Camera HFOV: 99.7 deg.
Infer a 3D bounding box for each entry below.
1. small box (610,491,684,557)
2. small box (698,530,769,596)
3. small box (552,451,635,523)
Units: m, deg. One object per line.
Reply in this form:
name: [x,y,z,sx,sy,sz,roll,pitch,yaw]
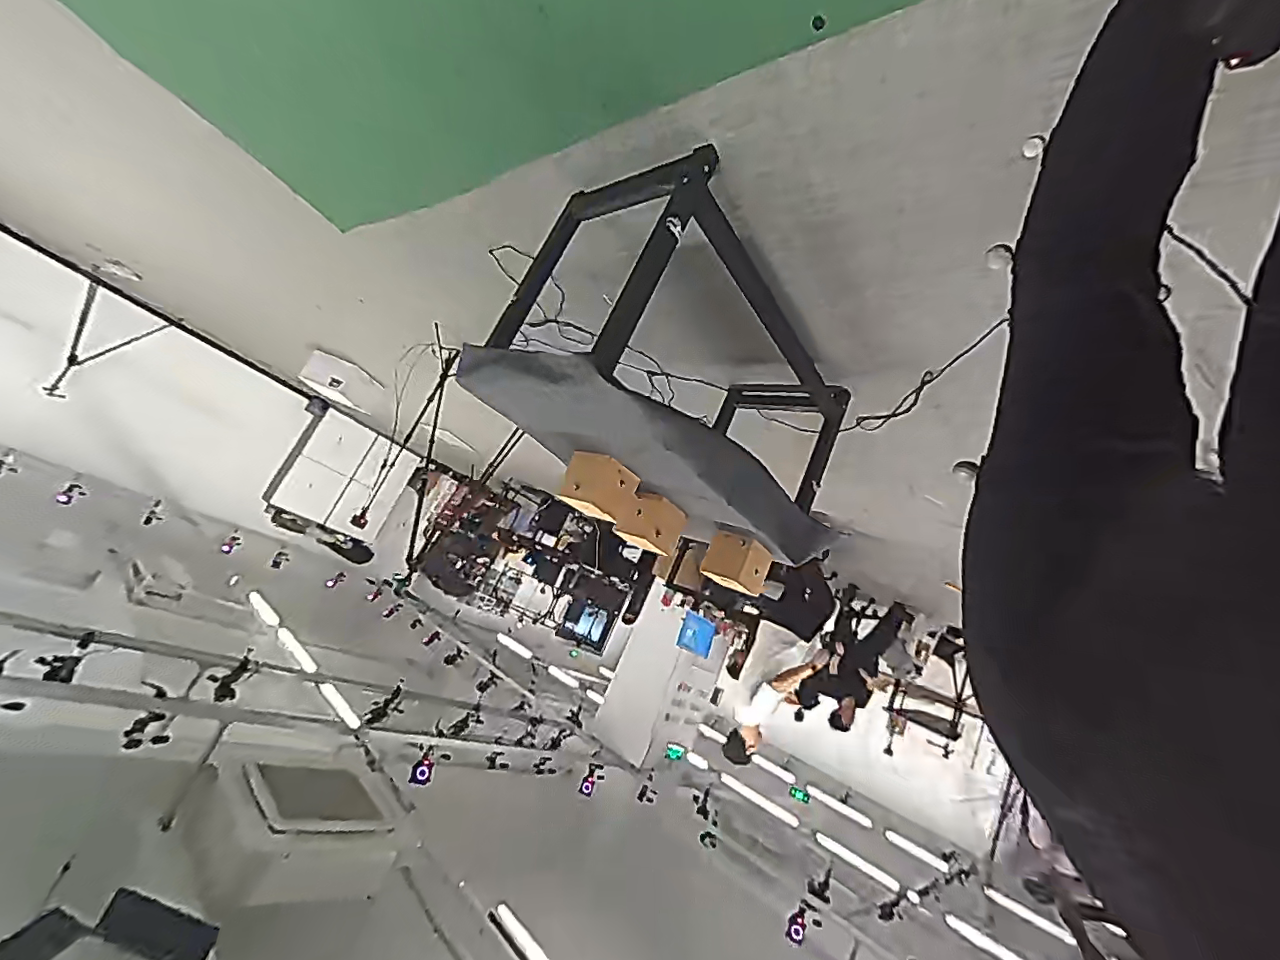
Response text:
small box: [0.028,0.154,1.944,0.168,0.176,0.179,11,161,41]
small box: [0.342,0.298,1.959,0.168,0.176,0.179,12,162,43]
small box: [-0.146,0.020,1.755,0.179,0.176,0.168,10,160,43]
